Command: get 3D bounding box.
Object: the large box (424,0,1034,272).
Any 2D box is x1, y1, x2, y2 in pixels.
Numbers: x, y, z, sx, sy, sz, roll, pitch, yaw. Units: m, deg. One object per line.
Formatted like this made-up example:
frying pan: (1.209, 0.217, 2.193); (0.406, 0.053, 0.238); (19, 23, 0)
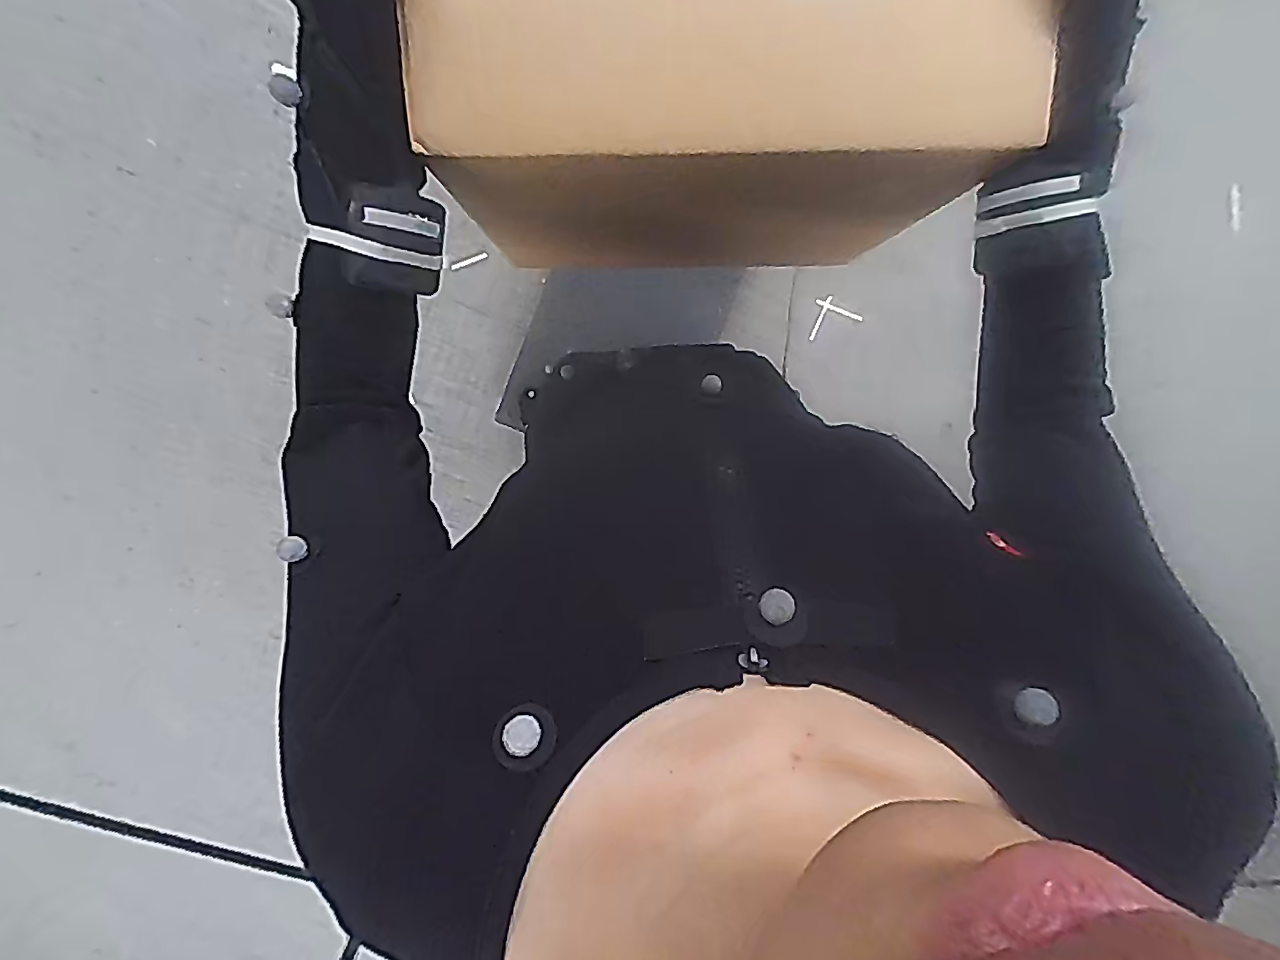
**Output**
large box: (0.052, -0.388, 0.488); (0.408, 0.320, 0.320); (-1, 99, -2)
